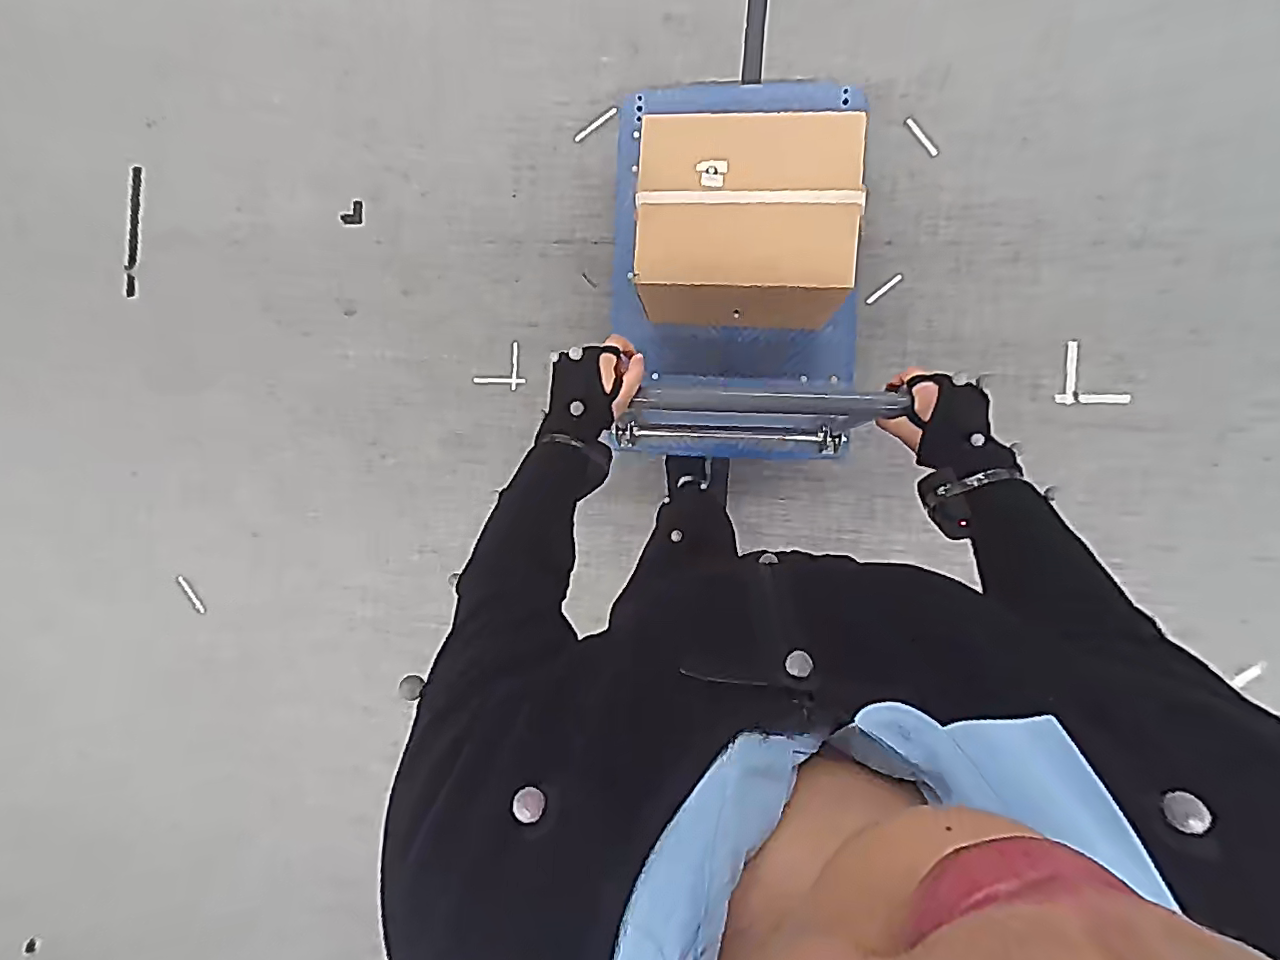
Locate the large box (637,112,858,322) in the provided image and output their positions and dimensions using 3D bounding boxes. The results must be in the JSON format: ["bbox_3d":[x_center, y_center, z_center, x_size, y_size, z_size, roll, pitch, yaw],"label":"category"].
[{"bbox_3d":[0.219,-0.527,1.158,0.408,0.320,0.320,3,91,8],"label":"large box"}]
